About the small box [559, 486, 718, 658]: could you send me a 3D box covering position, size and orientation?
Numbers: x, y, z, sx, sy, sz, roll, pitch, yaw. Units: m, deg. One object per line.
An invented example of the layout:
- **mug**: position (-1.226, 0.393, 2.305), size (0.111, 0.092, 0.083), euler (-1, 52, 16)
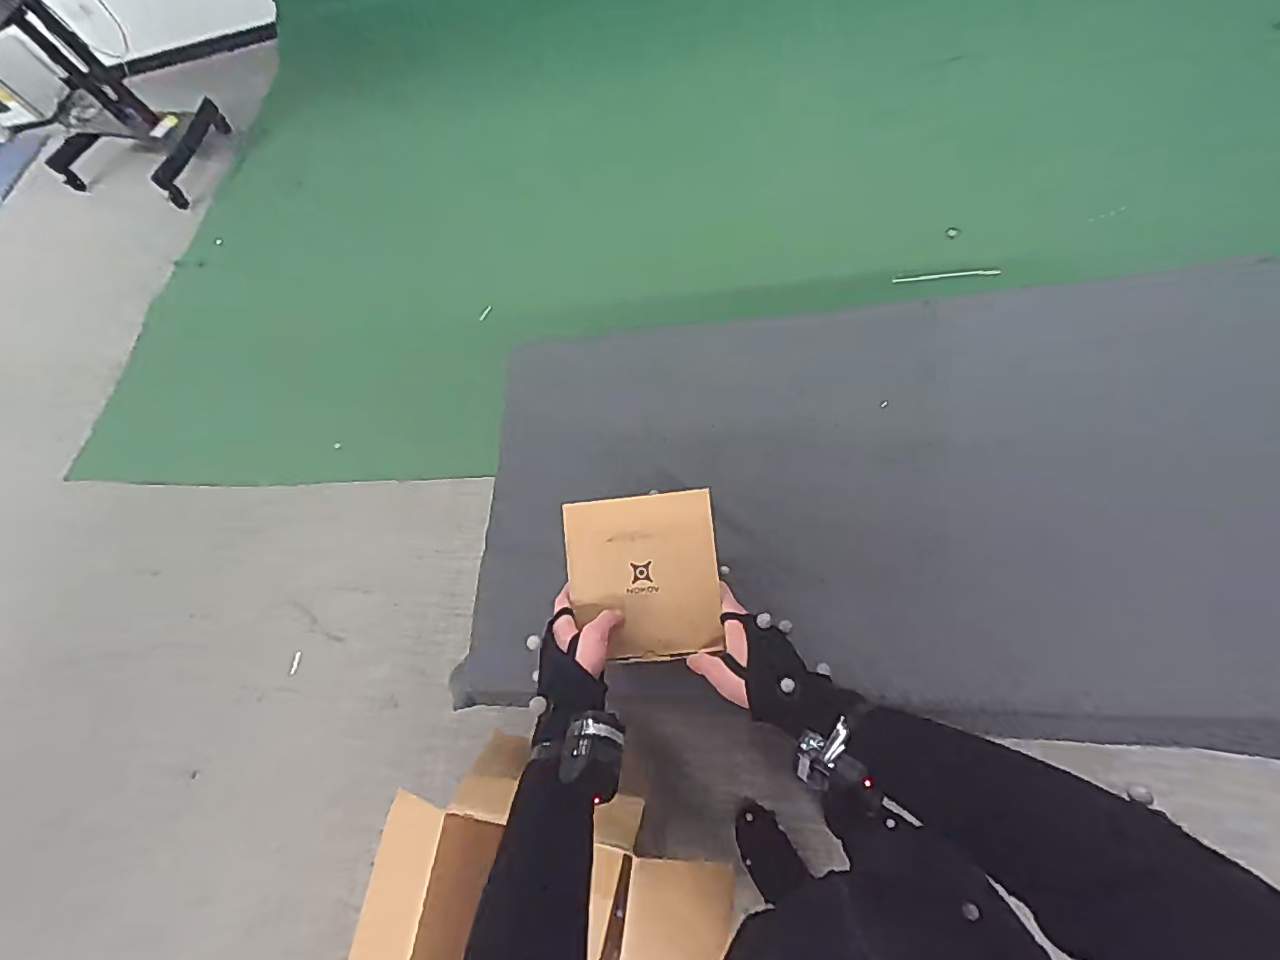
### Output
- **small box**: position (0.006, 0.109, 0.667), size (0.168, 0.176, 0.179), euler (-7, 82, 5)
